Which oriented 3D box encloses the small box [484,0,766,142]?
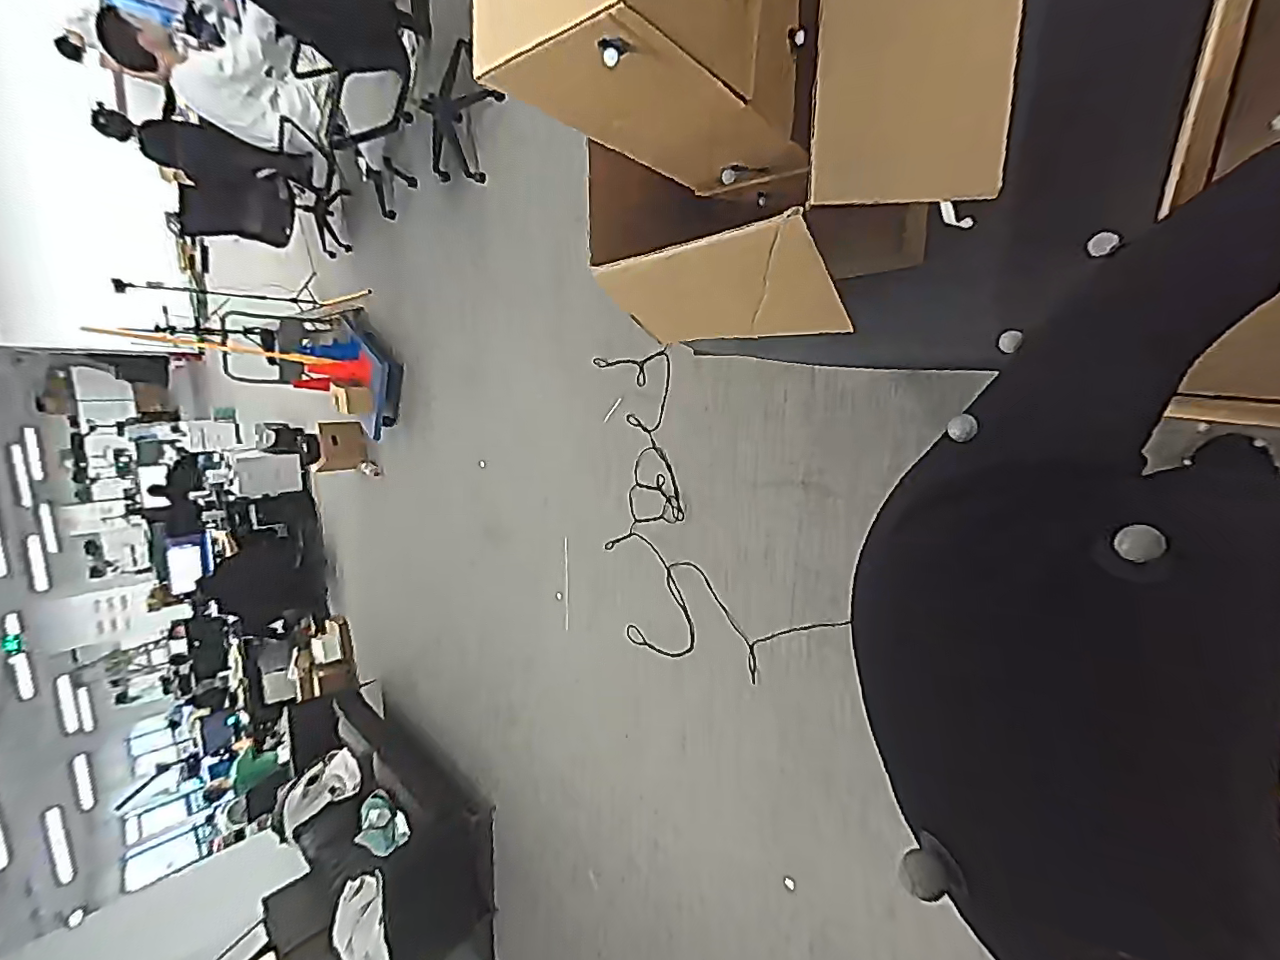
[{"bbox_3d":[-0.010,-0.416,0.454,0.179,0.176,0.168,12,103,39],"label":"small box"}]
